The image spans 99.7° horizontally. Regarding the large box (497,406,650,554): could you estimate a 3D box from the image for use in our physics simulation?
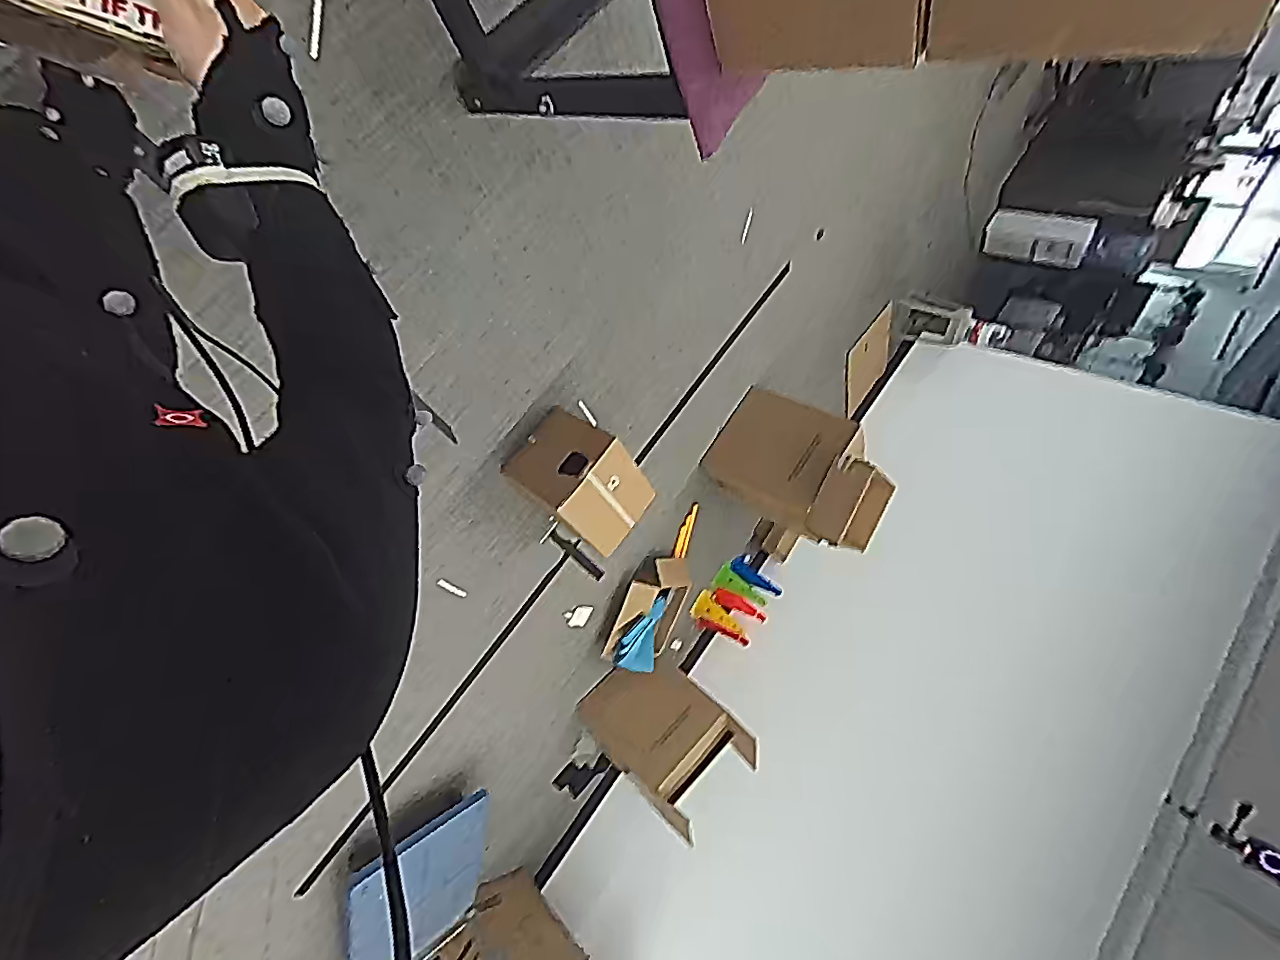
[{"bbox_3d":[-0.226,0.004,1.945,0.320,0.320,0.408,-53,145,-13],"label":"large box"}]
